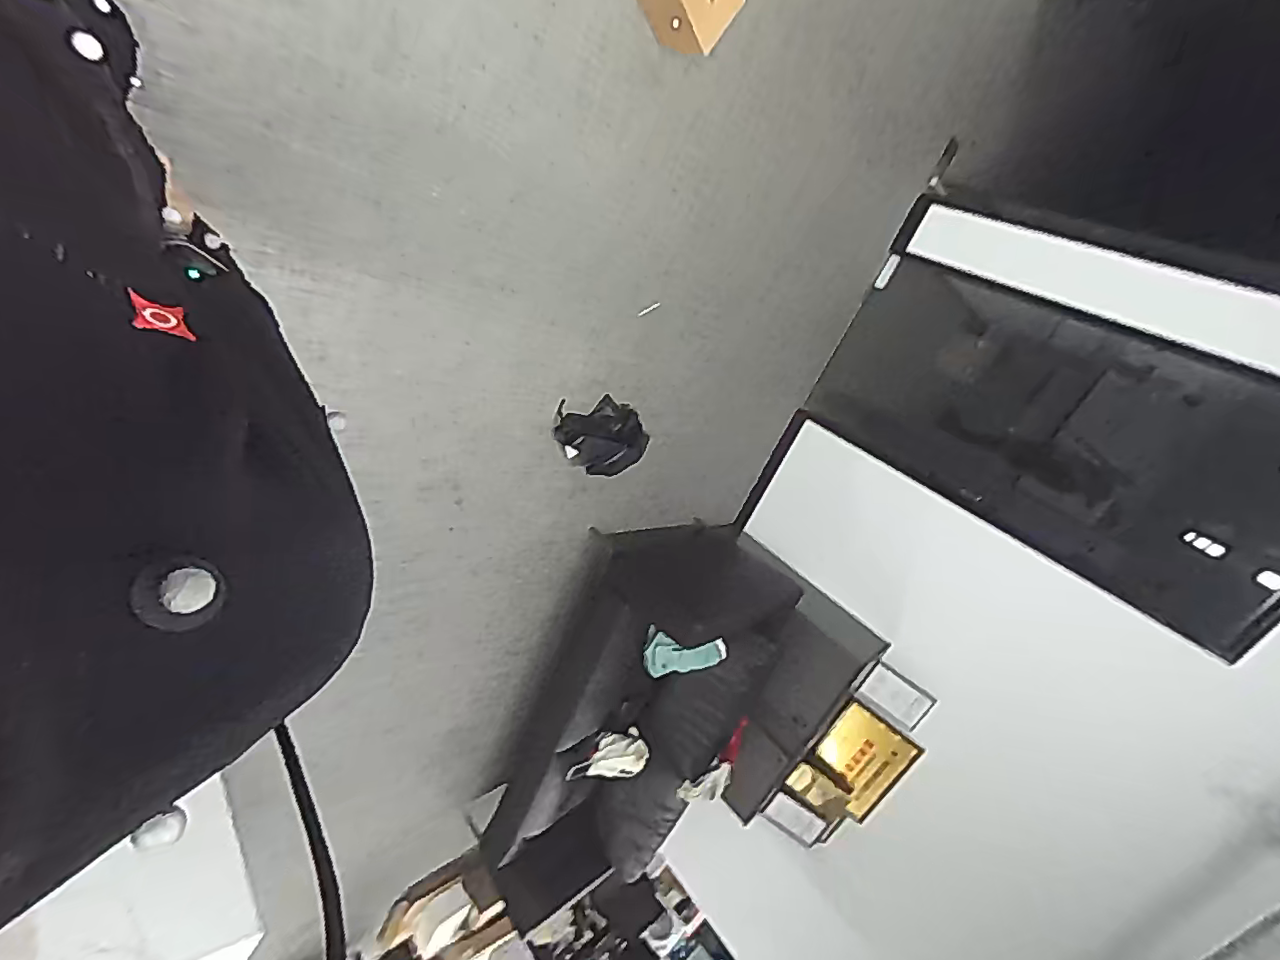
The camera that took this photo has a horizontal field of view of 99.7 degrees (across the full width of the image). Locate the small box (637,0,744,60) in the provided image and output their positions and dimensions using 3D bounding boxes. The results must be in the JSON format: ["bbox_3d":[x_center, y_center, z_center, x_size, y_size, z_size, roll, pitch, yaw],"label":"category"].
[{"bbox_3d":[0.114,-1.169,1.300,0.168,0.176,0.179,-53,147,5],"label":"small box"}]
